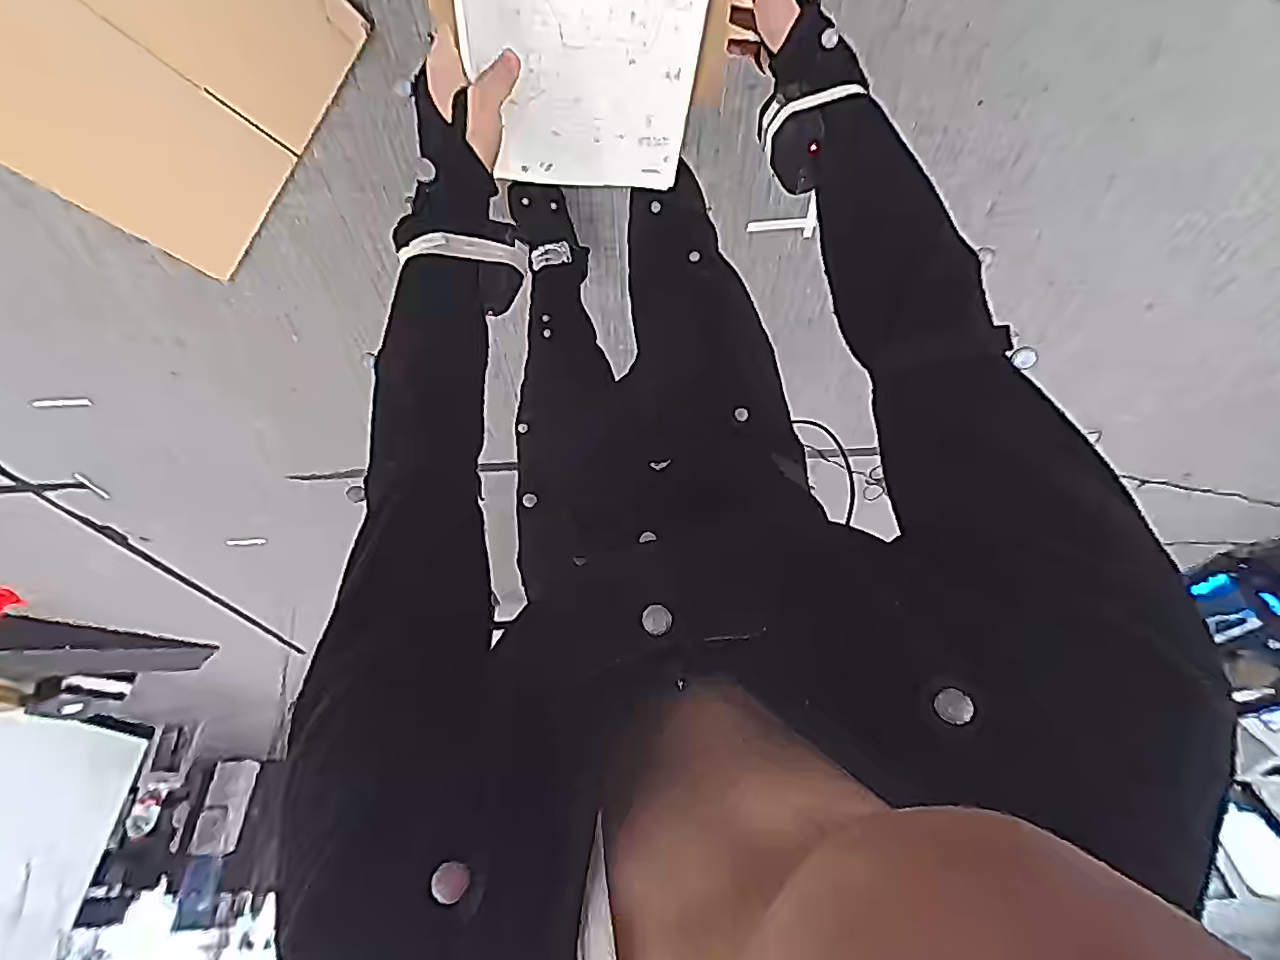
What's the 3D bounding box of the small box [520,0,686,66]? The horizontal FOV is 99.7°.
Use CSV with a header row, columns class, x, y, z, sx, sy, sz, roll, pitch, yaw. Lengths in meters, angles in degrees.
class,x,y,z,sx,sy,sz,roll,pitch,yaw
small box,-0.043,-0.555,0.542,0.168,0.176,0.179,-6,144,-1
